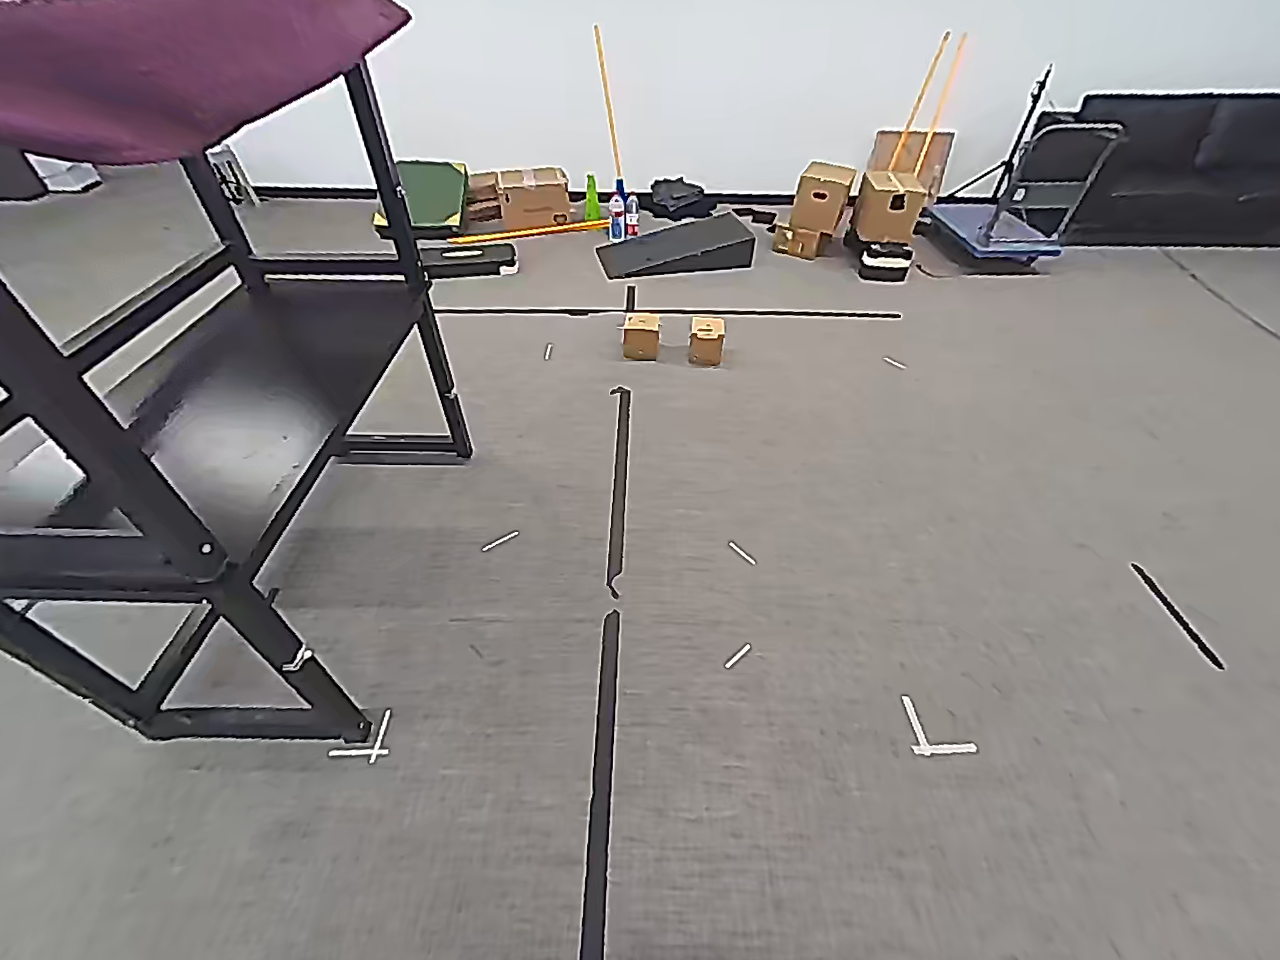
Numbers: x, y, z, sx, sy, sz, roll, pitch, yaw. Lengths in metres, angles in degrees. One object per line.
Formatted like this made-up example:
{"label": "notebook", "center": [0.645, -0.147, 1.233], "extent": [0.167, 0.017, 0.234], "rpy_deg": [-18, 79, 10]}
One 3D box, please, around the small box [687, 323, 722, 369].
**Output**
{"label": "small box", "center": [0.333, -0.692, 2.790], "extent": [0.168, 0.176, 0.179], "rpy_deg": [6, 43, 3]}

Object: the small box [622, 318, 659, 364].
{"label": "small box", "center": [0.003, -0.720, 2.806], "extent": [0.179, 0.176, 0.168], "rpy_deg": [5, 44, 2]}
